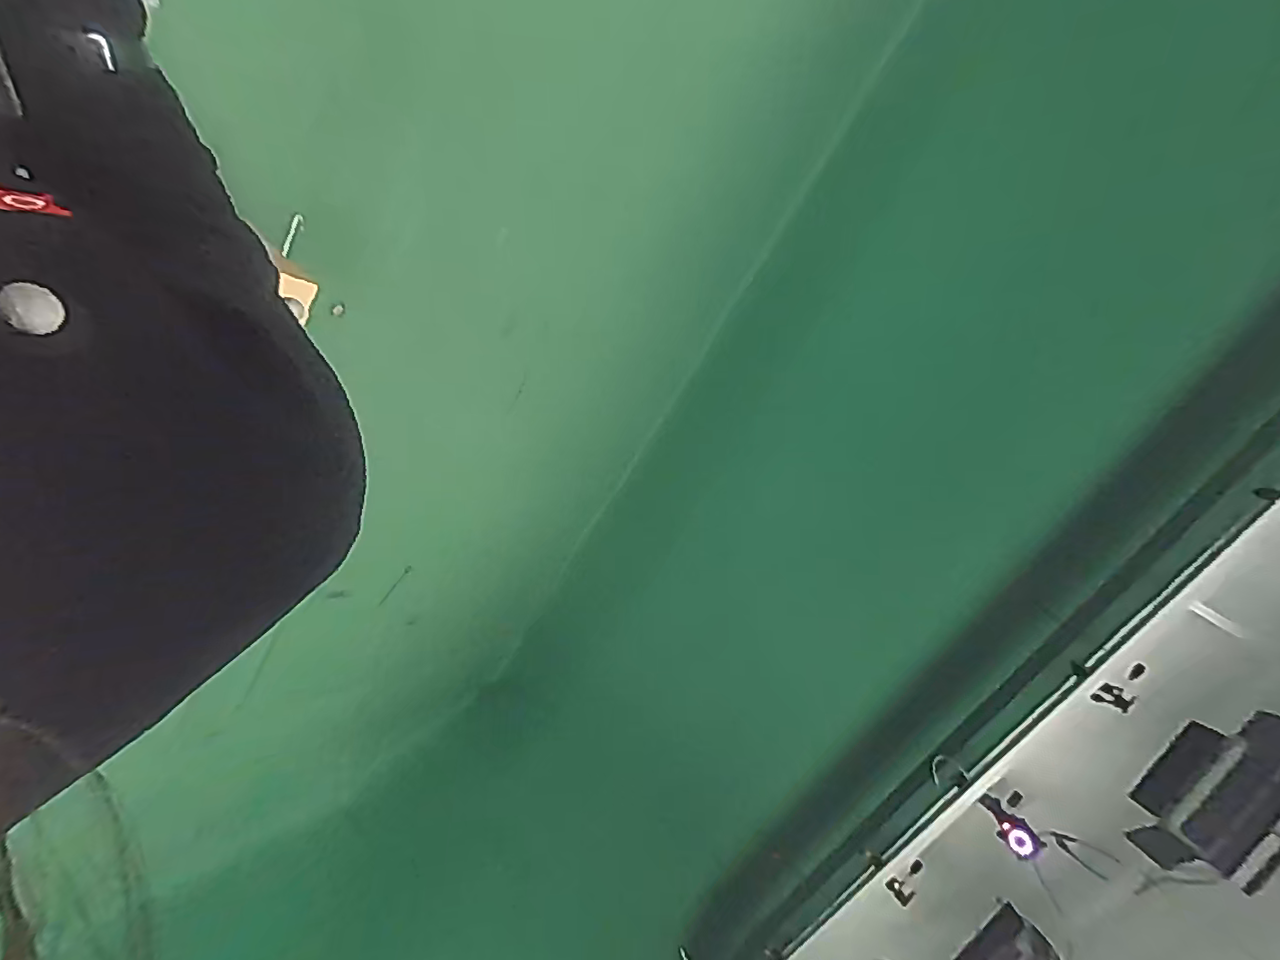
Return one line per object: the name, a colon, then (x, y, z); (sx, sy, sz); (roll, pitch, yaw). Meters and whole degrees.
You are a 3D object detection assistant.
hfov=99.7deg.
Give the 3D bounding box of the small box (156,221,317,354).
small box: (-0.794, -0.377, 1.067); (0.168, 0.176, 0.179); (-58, 159, 13)
